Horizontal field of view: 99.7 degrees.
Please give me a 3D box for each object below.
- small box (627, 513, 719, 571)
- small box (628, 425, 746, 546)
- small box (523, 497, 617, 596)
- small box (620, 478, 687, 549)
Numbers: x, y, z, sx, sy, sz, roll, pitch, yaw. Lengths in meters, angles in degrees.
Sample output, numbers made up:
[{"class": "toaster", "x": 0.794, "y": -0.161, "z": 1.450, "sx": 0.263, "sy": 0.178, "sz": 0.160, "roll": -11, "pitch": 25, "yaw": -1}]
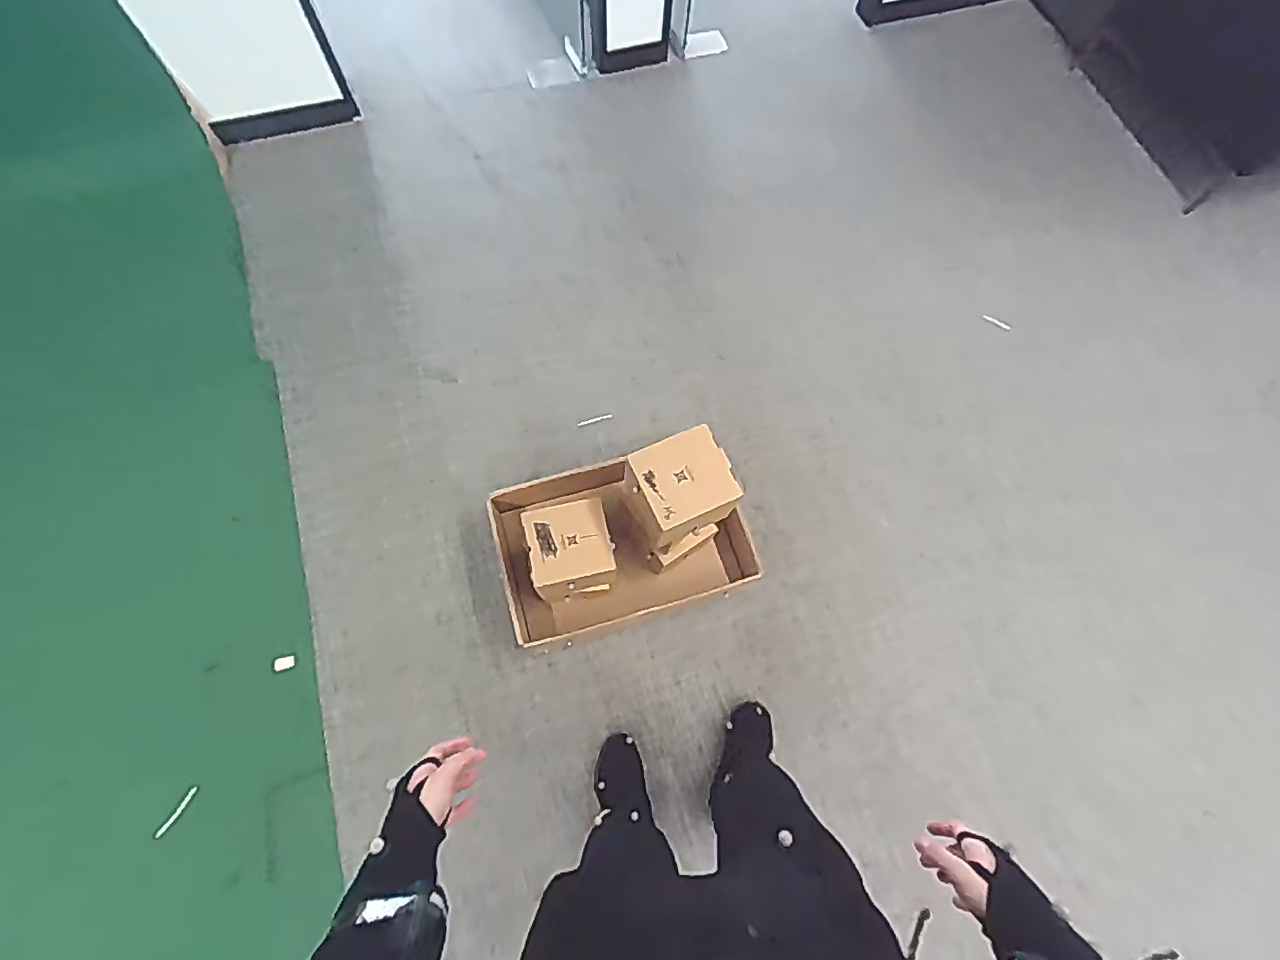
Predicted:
[{"class": "small box", "x": 0.080, "y": 0.123, "z": 1.408, "sx": 0.168, "sy": 0.176, "sz": 0.179, "roll": -31, "pitch": 75, "yaw": -12}, {"class": "small box", "x": 0.085, "y": 0.017, "z": 1.099, "sx": 0.179, "sy": 0.176, "sz": 0.168, "roll": -23, "pitch": 74, "yaw": -11}, {"class": "small box", "x": -0.152, "y": 0.155, "z": 1.211, "sx": 0.179, "sy": 0.176, "sz": 0.168, "roll": -11, "pitch": 71, "yaw": -8}, {"class": "small box", "x": 0.070, "y": 0.045, "z": 1.262, "sx": 0.168, "sy": 0.176, "sz": 0.179, "roll": -42, "pitch": 78, "yaw": -15}]
